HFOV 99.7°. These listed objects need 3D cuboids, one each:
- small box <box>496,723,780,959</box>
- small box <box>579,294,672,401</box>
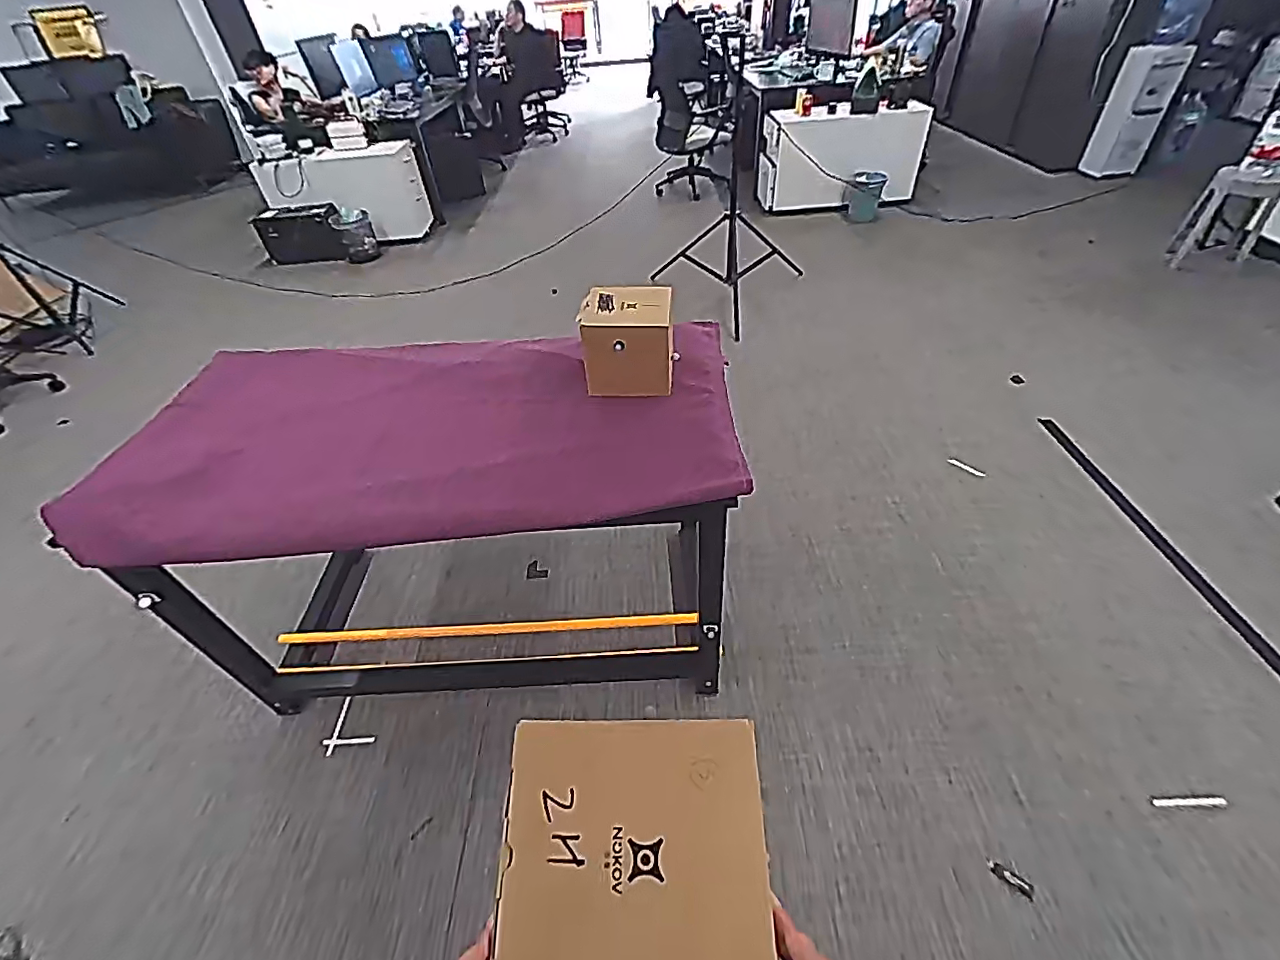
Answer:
[{"bbox_3d":[0.001,0.289,0.422,0.179,0.176,0.168,-1,58,2],"label":"small box"},{"bbox_3d":[-0.023,-0.282,1.157,0.179,0.176,0.168,1,45,5],"label":"small box"}]
